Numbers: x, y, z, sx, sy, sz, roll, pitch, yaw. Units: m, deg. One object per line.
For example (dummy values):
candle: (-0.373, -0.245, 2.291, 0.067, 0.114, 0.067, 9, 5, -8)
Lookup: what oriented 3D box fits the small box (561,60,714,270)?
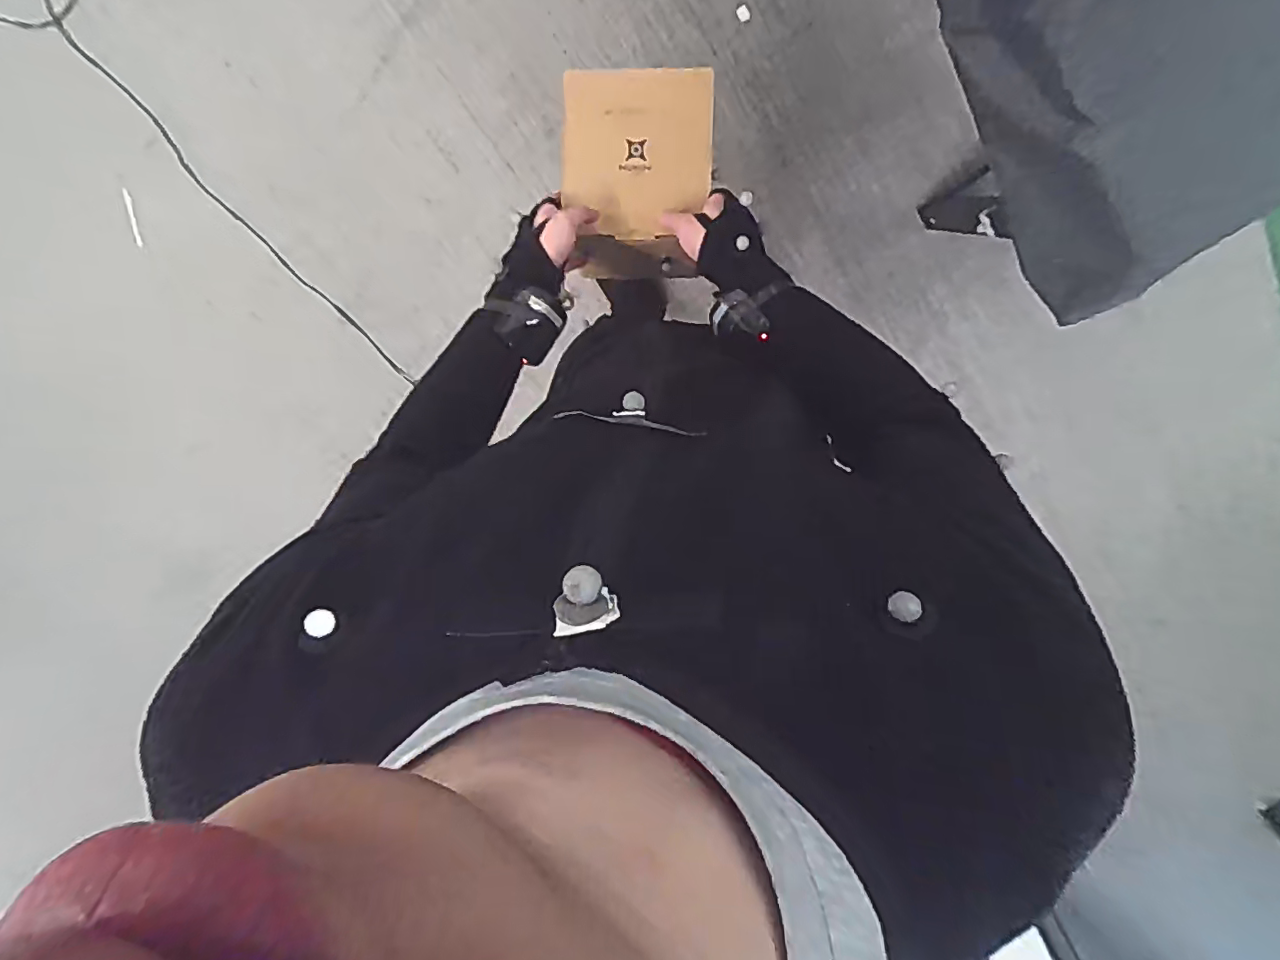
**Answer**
small box: (-0.001, -0.369, 0.665, 0.168, 0.176, 0.179, 1, 94, 1)
